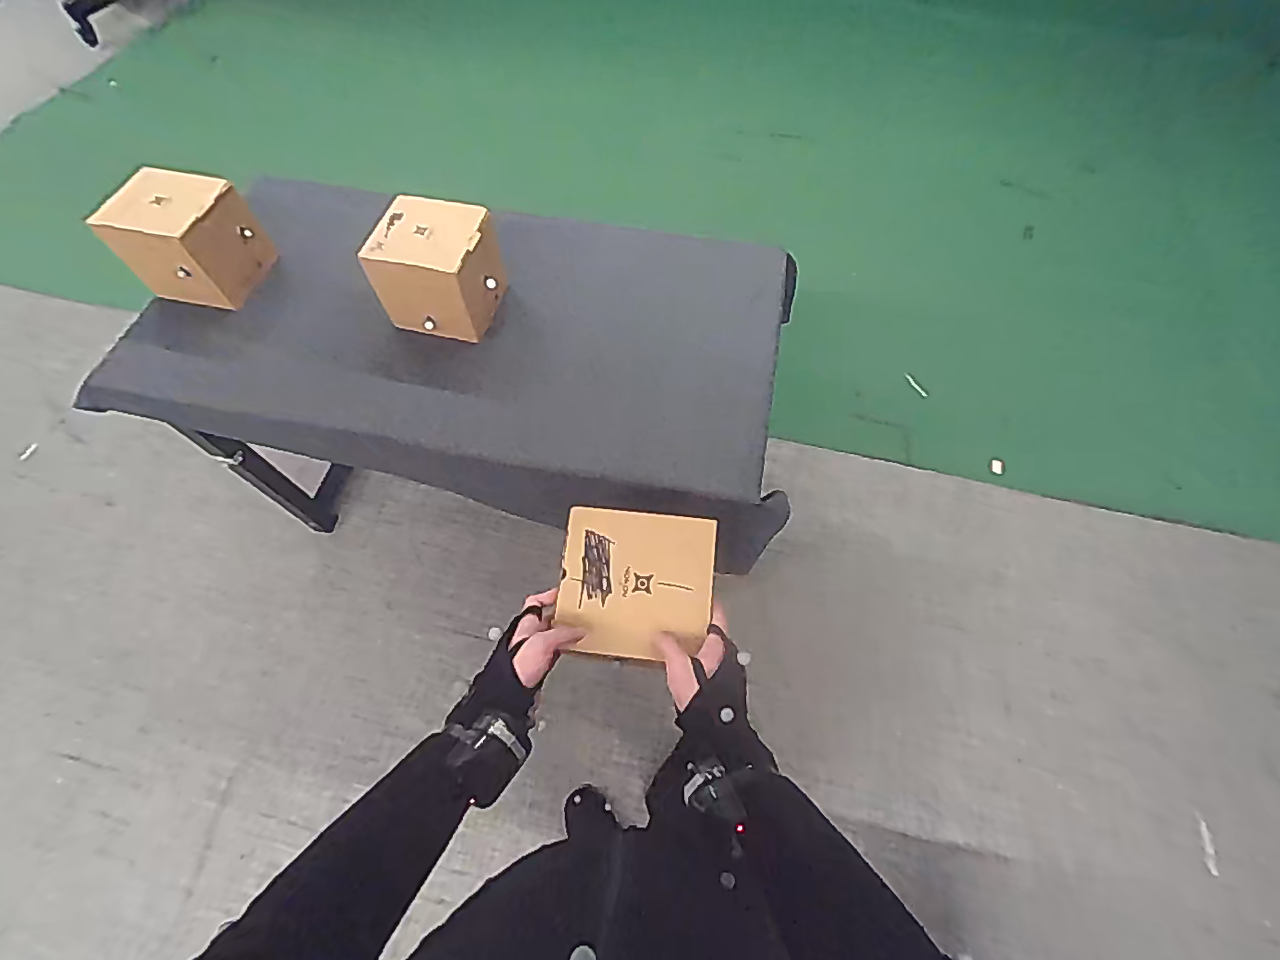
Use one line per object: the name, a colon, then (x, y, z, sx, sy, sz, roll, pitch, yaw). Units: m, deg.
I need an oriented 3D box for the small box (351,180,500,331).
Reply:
small box: (-0.366, -0.393, 0.967, 0.179, 0.176, 0.168, 13, 62, 2)

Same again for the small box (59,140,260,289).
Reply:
small box: (-0.842, -0.470, 0.974, 0.179, 0.176, 0.168, 11, 60, 3)

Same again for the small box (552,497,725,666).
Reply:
small box: (0.001, 0.133, 0.669, 0.179, 0.176, 0.168, 7, 68, 1)
